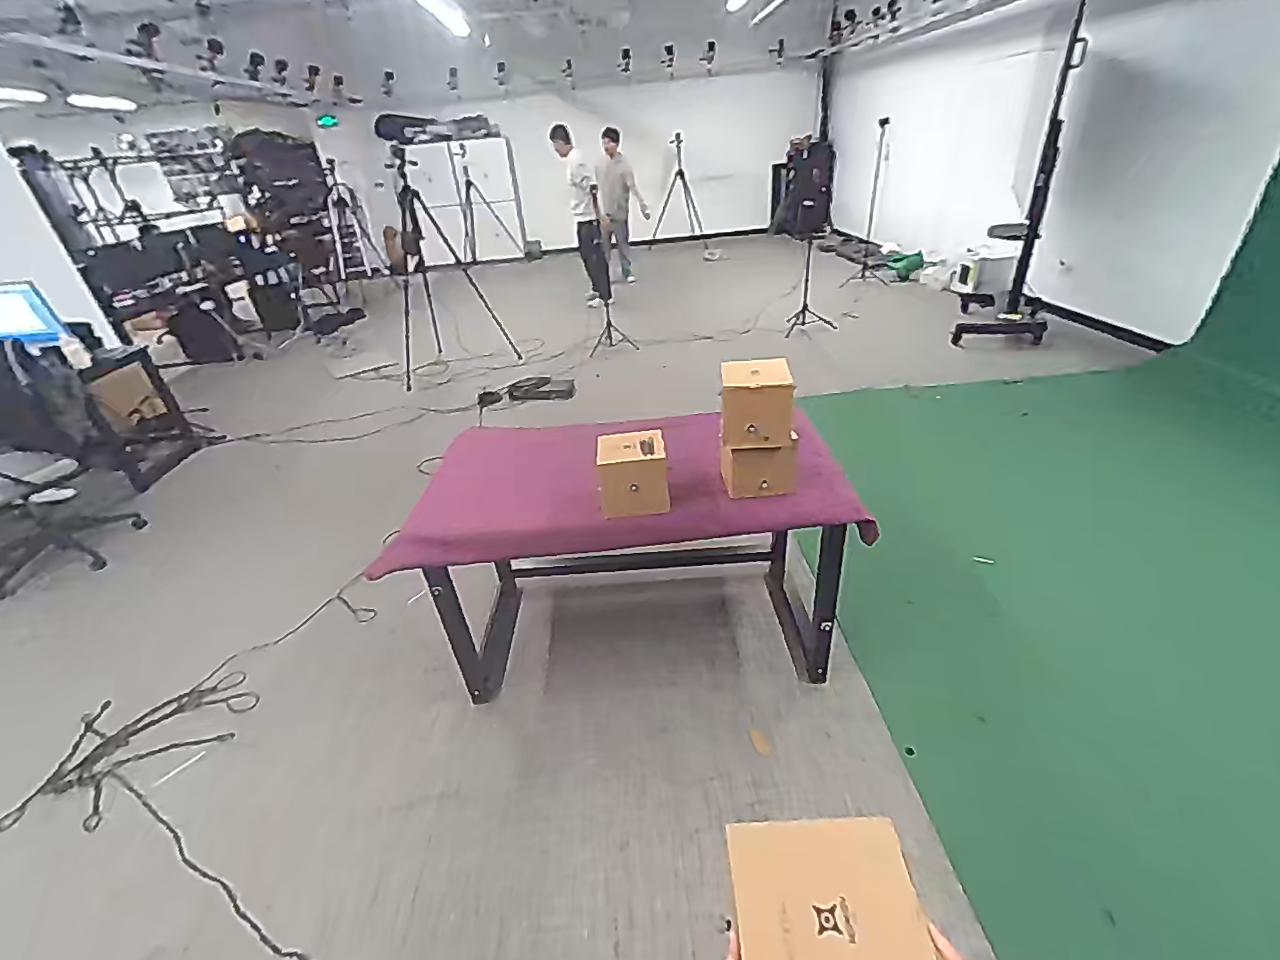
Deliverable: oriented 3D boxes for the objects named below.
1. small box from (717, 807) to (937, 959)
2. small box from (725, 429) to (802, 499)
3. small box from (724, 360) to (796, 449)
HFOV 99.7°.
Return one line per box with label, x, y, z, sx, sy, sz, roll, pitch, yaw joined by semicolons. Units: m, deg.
small box;0.175;0.454;0.551;0.179;0.176;0.168;-4;40;3
small box;0.327;-0.063;1.468;0.179;0.176;0.168;-5;29;2
small box;0.298;-0.192;1.368;0.168;0.176;0.179;-2;31;9
